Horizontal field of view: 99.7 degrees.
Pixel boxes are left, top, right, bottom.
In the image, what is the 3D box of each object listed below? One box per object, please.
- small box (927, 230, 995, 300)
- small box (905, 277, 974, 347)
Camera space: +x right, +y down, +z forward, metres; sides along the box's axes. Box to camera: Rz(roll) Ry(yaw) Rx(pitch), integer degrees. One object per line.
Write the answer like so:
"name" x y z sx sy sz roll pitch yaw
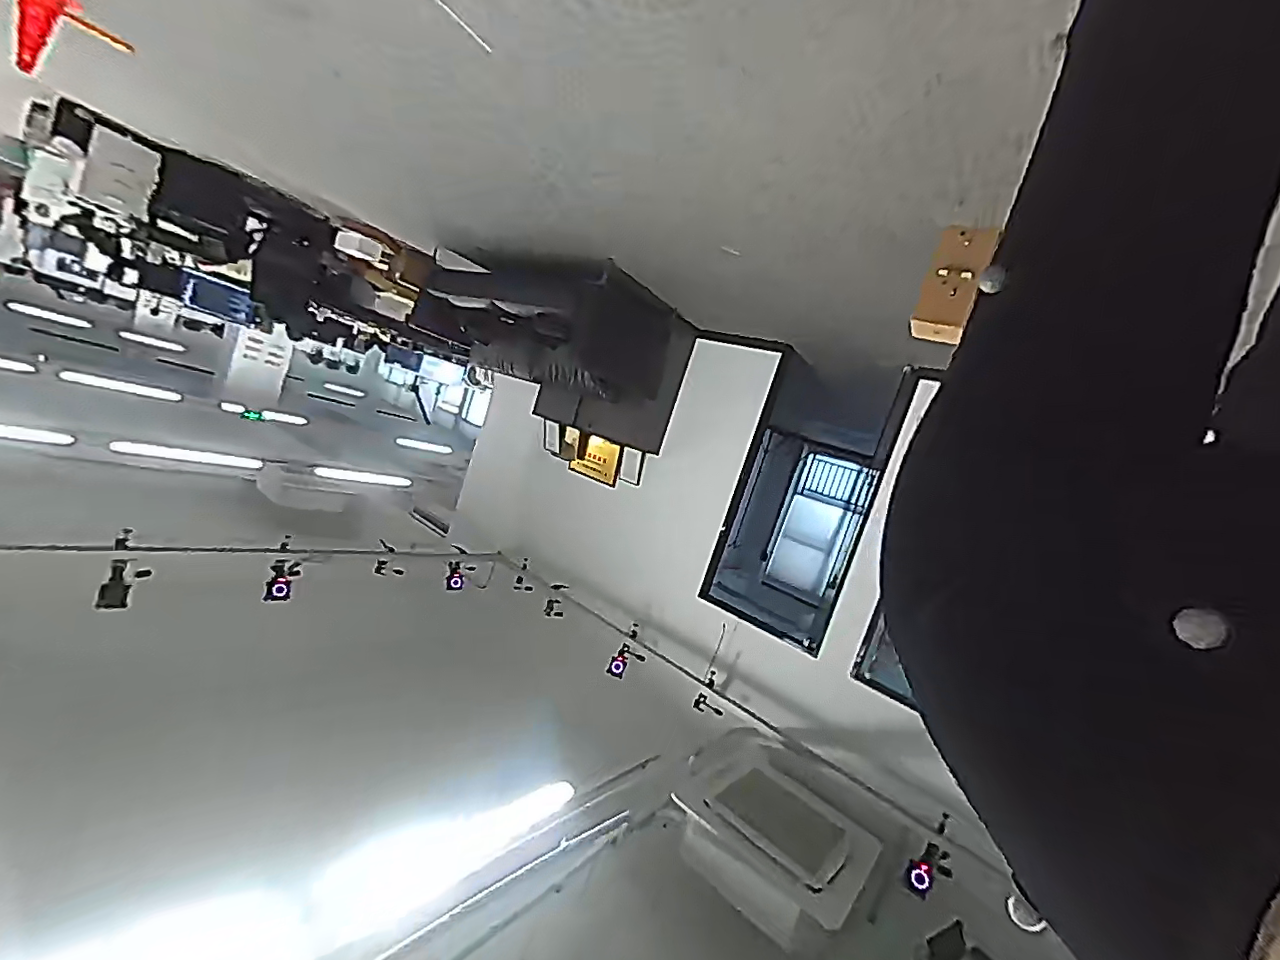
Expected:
"small box" 1.100 -0.735 1.868 0.168 0.176 0.179 18 -178 23
"small box" 1.043 -0.585 1.886 0.168 0.176 0.179 22 -176 28
